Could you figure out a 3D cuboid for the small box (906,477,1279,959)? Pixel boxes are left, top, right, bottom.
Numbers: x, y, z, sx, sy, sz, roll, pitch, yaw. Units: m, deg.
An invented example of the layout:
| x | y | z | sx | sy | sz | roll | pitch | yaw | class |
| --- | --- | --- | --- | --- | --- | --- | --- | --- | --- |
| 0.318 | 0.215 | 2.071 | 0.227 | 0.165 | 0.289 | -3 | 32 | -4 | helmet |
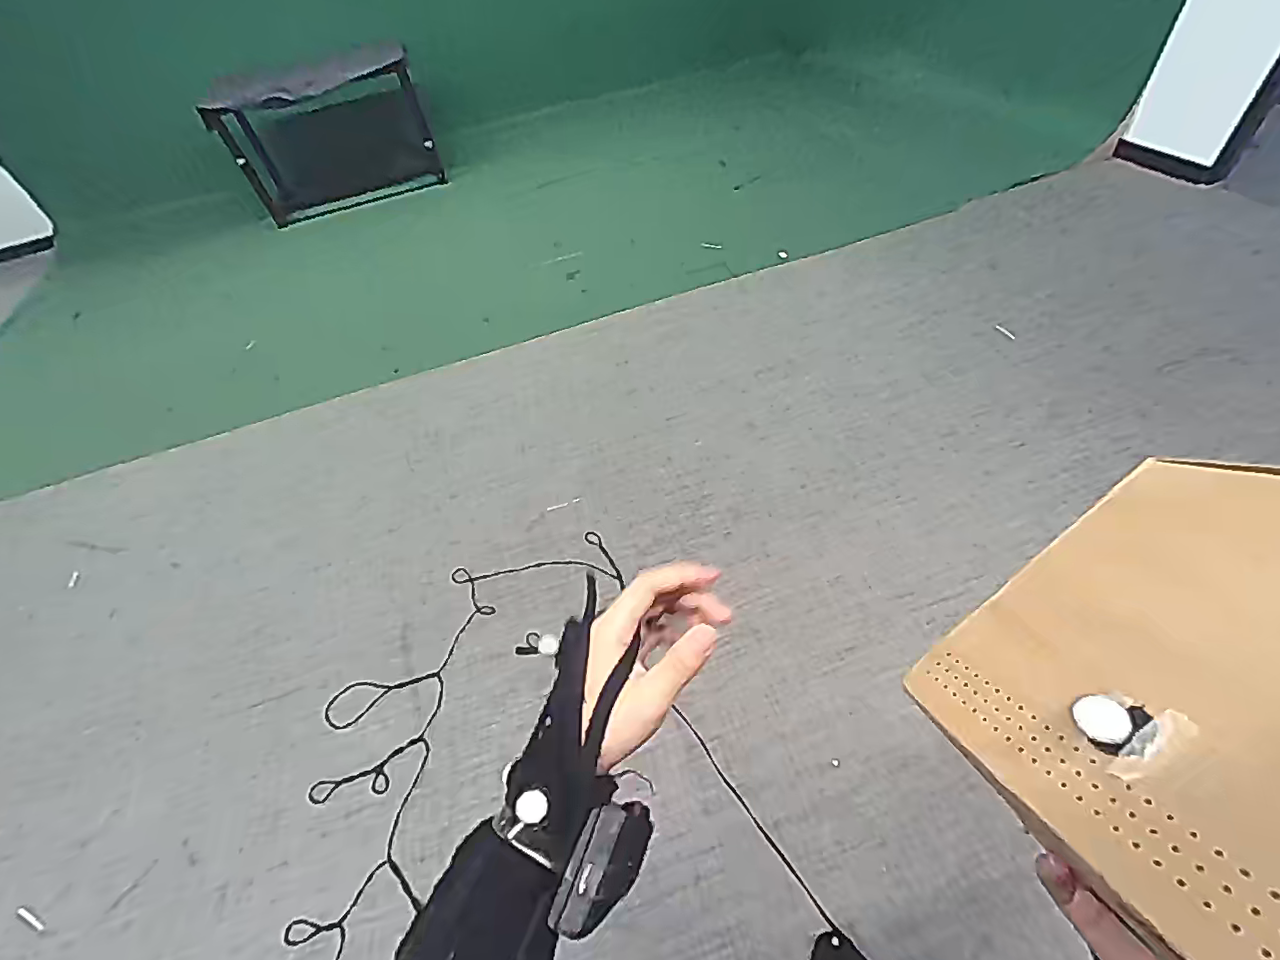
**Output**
| x | y | z | sx | sy | sz | roll | pitch | yaw | class |
| --- | --- | --- | --- | --- | --- | --- | --- | --- | --- |
| 0.251 | 0.125 | 0.205 | 0.176 | 0.168 | 0.179 | -43 | 10 | 3 | small box |
